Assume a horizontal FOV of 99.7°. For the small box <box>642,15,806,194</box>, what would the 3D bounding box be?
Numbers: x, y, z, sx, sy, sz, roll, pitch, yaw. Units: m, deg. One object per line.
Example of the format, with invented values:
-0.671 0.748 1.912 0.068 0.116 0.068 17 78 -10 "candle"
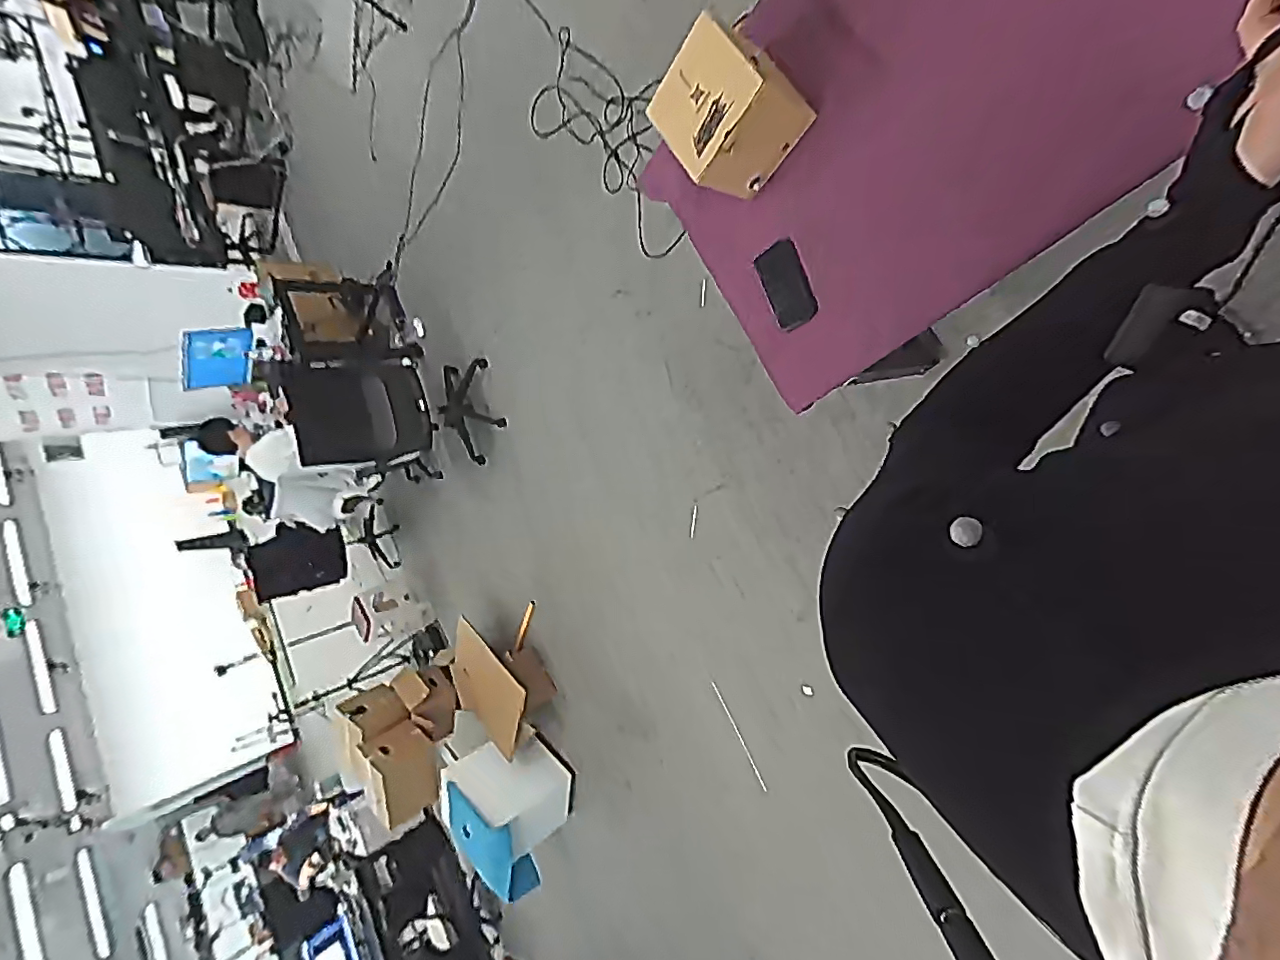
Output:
0.143 -0.609 0.904 0.168 0.176 0.179 -44 69 42 "small box"
